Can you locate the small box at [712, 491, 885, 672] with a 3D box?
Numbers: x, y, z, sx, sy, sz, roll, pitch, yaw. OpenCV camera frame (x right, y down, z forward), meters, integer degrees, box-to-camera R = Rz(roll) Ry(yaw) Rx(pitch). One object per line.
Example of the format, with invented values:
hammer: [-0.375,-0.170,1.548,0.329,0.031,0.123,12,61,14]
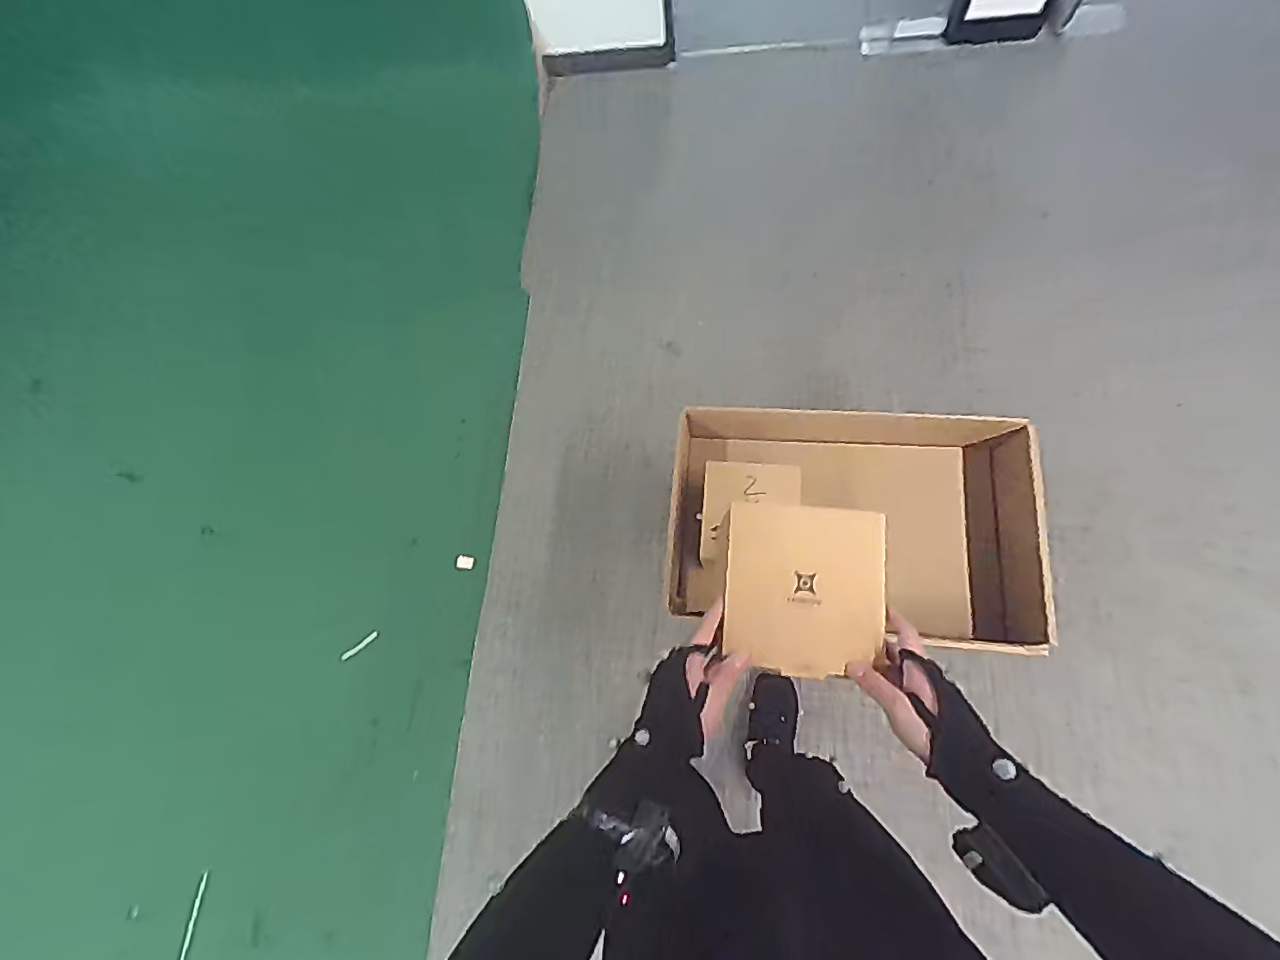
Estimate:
small box: [0.177,0.121,0.646,0.168,0.176,0.179,5,78,4]
